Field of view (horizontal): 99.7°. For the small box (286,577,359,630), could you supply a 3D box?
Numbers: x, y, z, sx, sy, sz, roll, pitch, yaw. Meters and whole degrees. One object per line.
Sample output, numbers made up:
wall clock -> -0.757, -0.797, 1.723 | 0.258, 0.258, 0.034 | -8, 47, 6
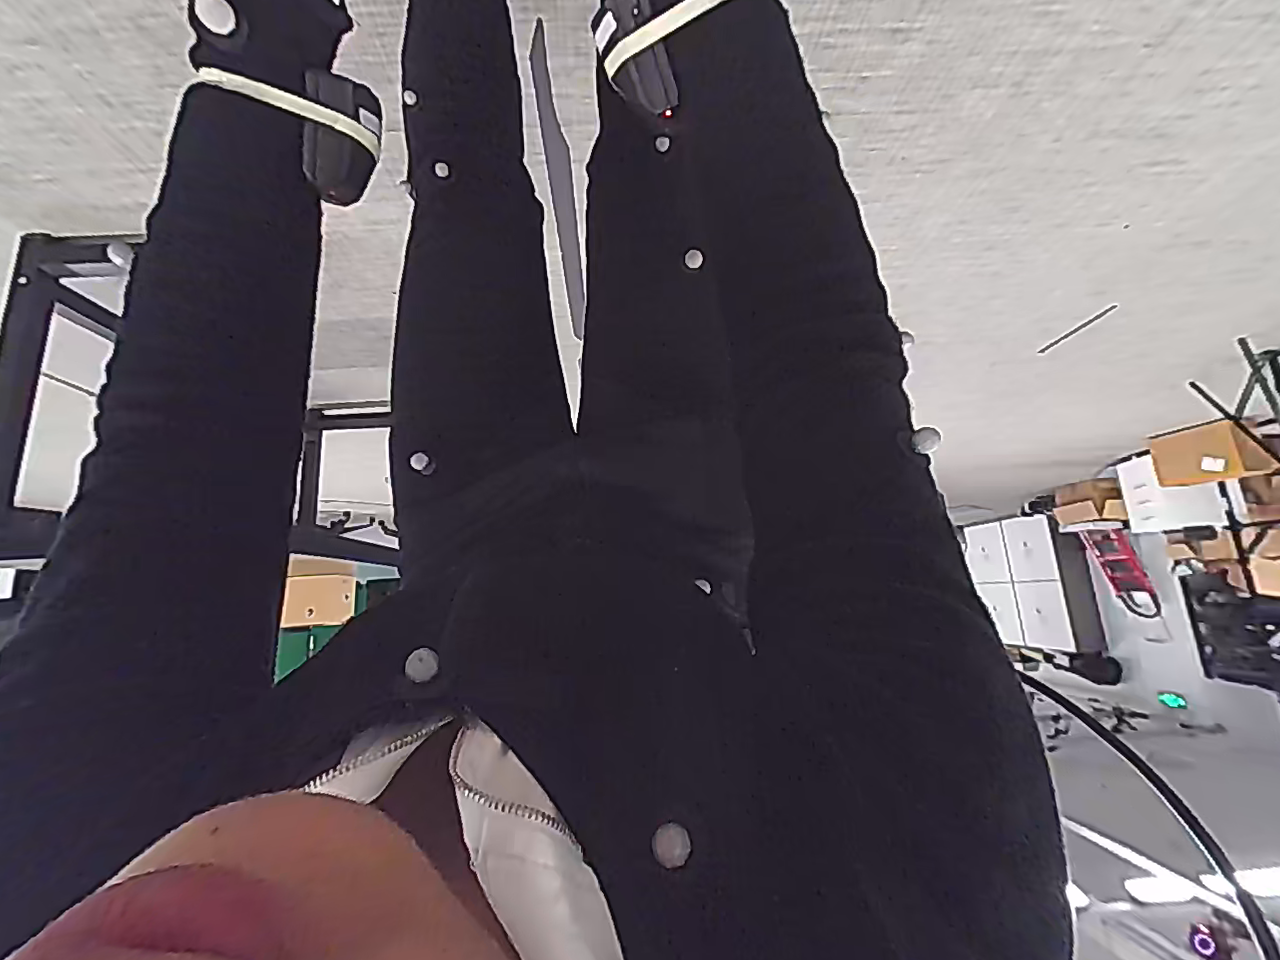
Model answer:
small box -> -1.111, 0.431, 1.903 | 0.179, 0.176, 0.168 | -2, 167, -5
